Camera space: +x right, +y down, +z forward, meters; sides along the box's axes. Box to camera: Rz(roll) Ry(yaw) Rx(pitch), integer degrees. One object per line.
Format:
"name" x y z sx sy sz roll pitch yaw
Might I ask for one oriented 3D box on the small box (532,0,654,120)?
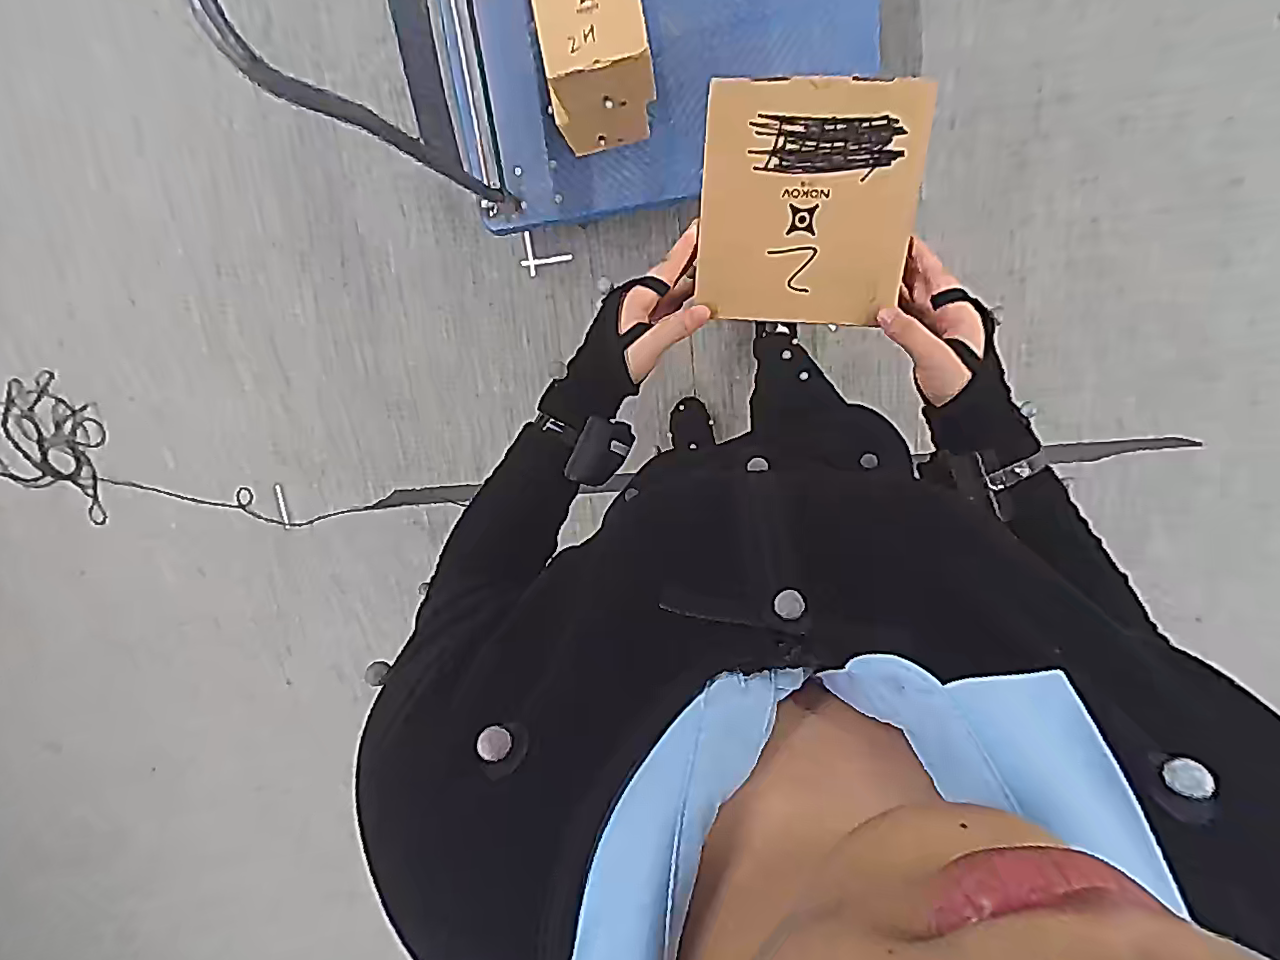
"small box" -0.074 -0.739 0.892 0.168 0.176 0.179 -9 103 8

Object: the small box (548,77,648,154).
"small box" -0.084 -0.774 1.055 0.168 0.176 0.179 -10 103 8
